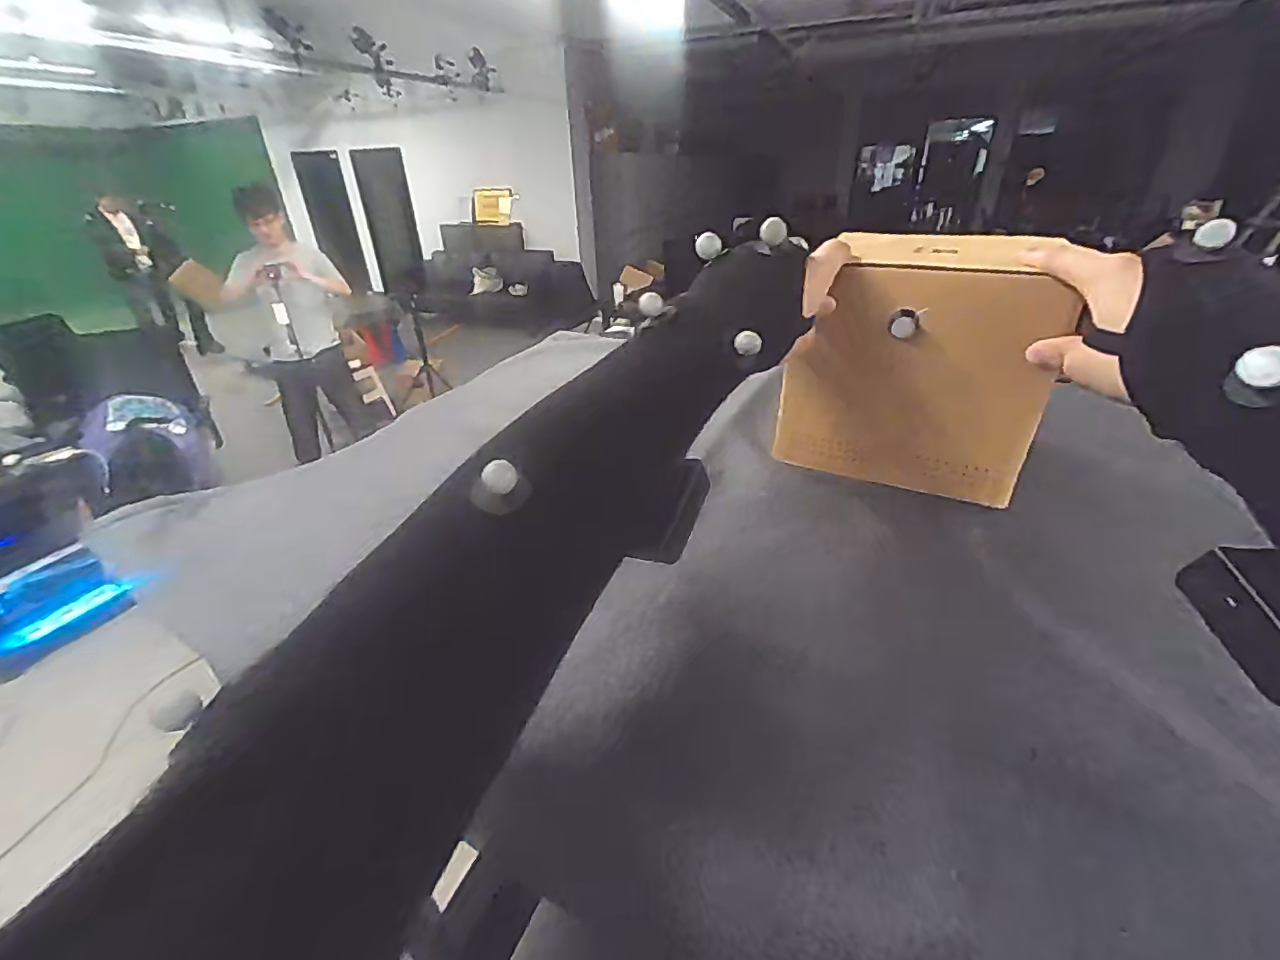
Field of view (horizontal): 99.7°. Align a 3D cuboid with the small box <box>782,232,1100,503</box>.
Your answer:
[{"bbox_3d":[0.231,-0.100,0.447,0.179,0.176,0.168,14,34,26],"label":"small box"}]
